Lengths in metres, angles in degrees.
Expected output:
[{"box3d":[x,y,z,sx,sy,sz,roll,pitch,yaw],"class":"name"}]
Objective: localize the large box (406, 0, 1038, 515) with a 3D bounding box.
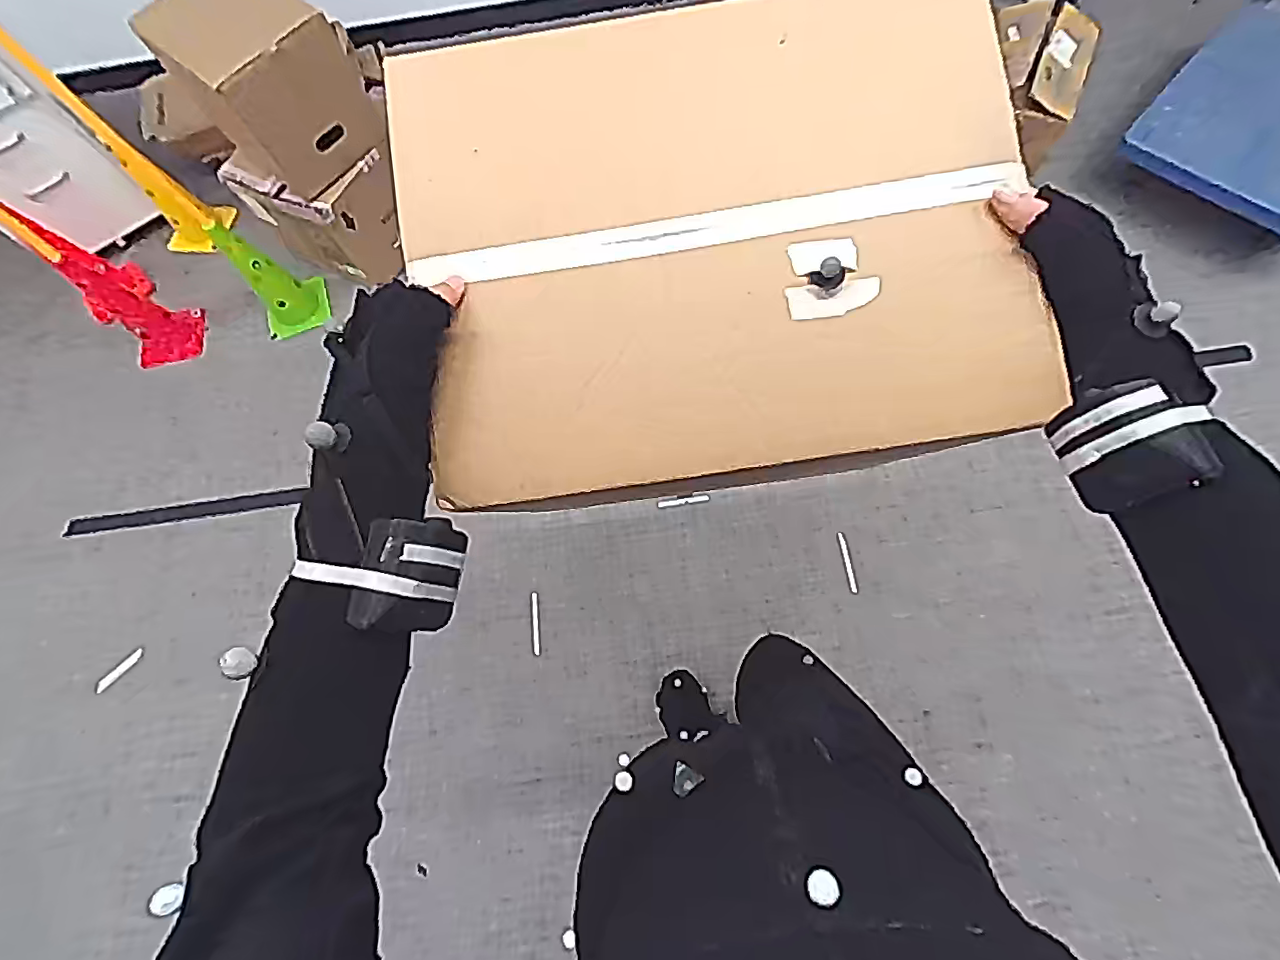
[{"box3d":[0.051,-0.150,0.523,0.408,0.320,0.320,-9,86,1],"class":"large box"}]
